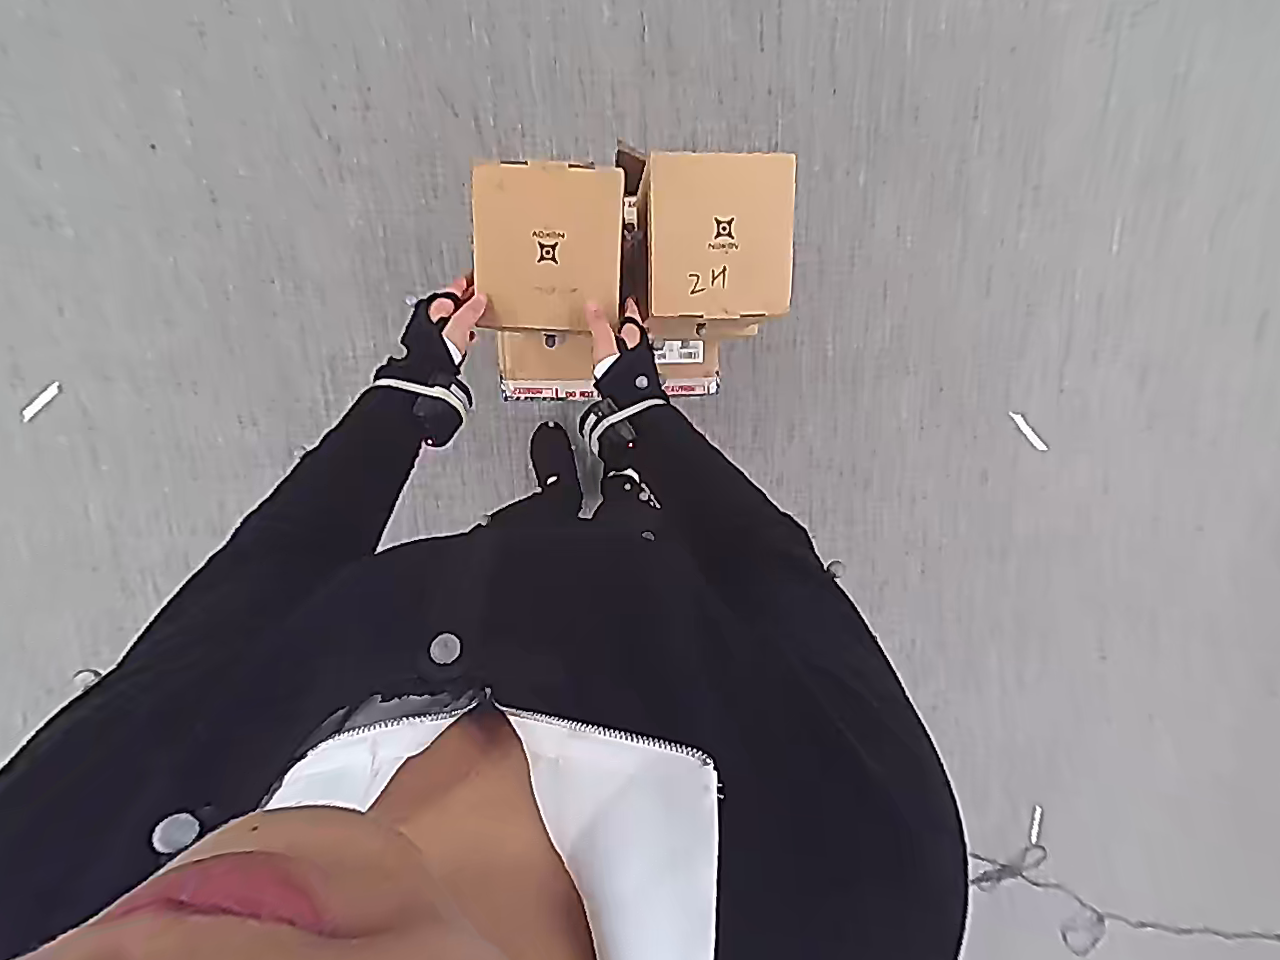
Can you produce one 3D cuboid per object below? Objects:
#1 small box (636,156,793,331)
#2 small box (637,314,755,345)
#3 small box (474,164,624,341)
[{"bbox_3d":[0.083,-0.287,0.692,0.168,0.176,0.179,-2,102,-5],"label":"small box"},{"bbox_3d":[0.084,-0.309,0.856,0.168,0.176,0.179,0,103,-6],"label":"small box"},{"bbox_3d":[-0.105,-0.271,0.681,0.168,0.176,0.179,2,103,-2],"label":"small box"}]
